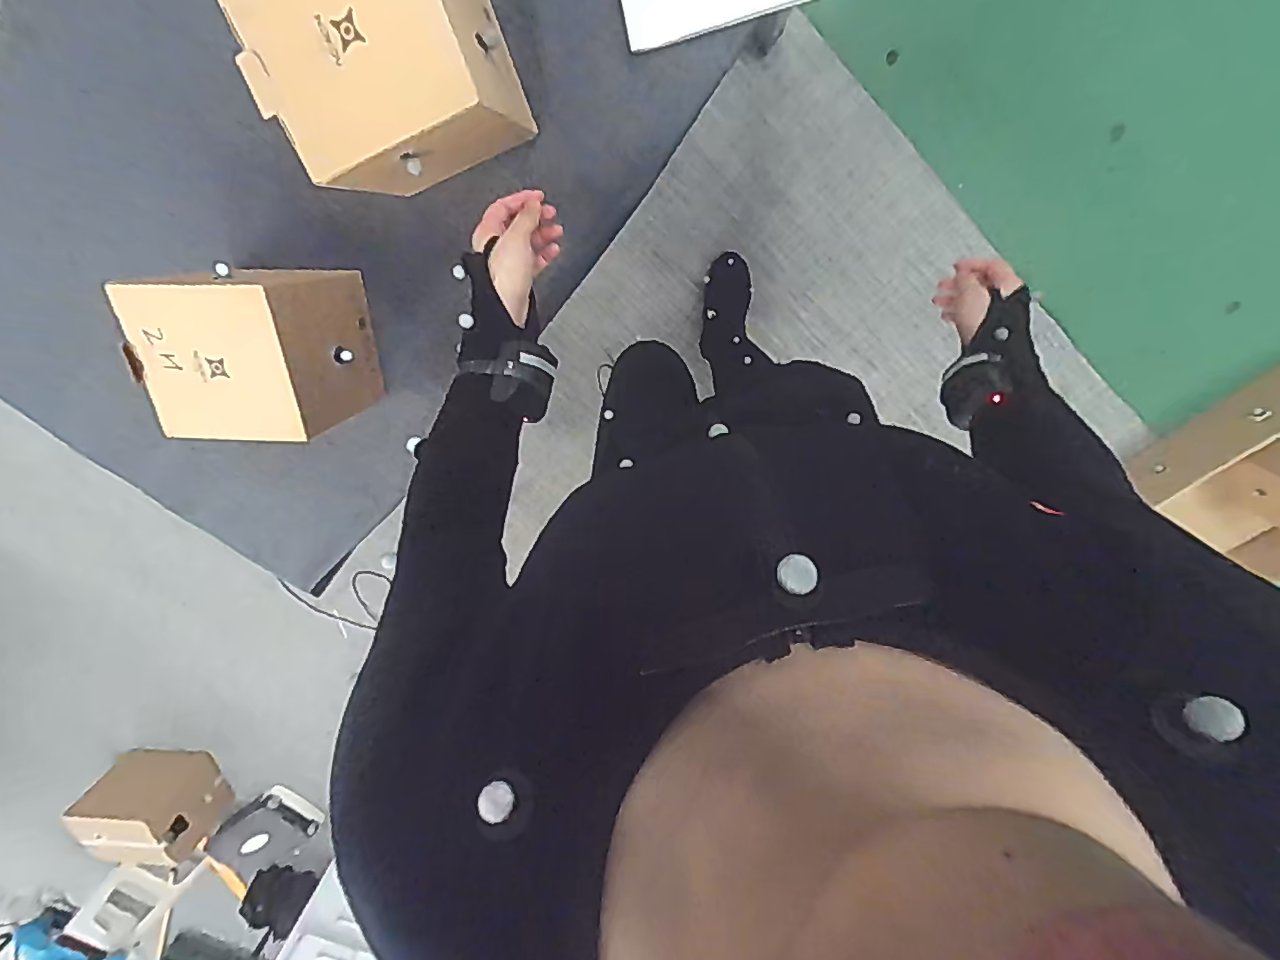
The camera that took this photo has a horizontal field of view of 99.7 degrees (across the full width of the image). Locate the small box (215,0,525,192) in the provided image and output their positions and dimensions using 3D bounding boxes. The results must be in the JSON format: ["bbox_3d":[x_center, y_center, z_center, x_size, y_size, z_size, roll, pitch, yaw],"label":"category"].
[{"bbox_3d":[-0.224,-0.384,0.497,0.179,0.176,0.168,-15,113,15],"label":"small box"}]

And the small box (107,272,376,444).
[{"bbox_3d":[-0.437,-0.151,0.636,0.179,0.176,0.168,3,115,6],"label":"small box"}]

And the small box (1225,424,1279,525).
[{"bbox_3d":[1.513,-0.015,1.238,0.168,0.176,0.179,-28,111,19],"label":"small box"}]
